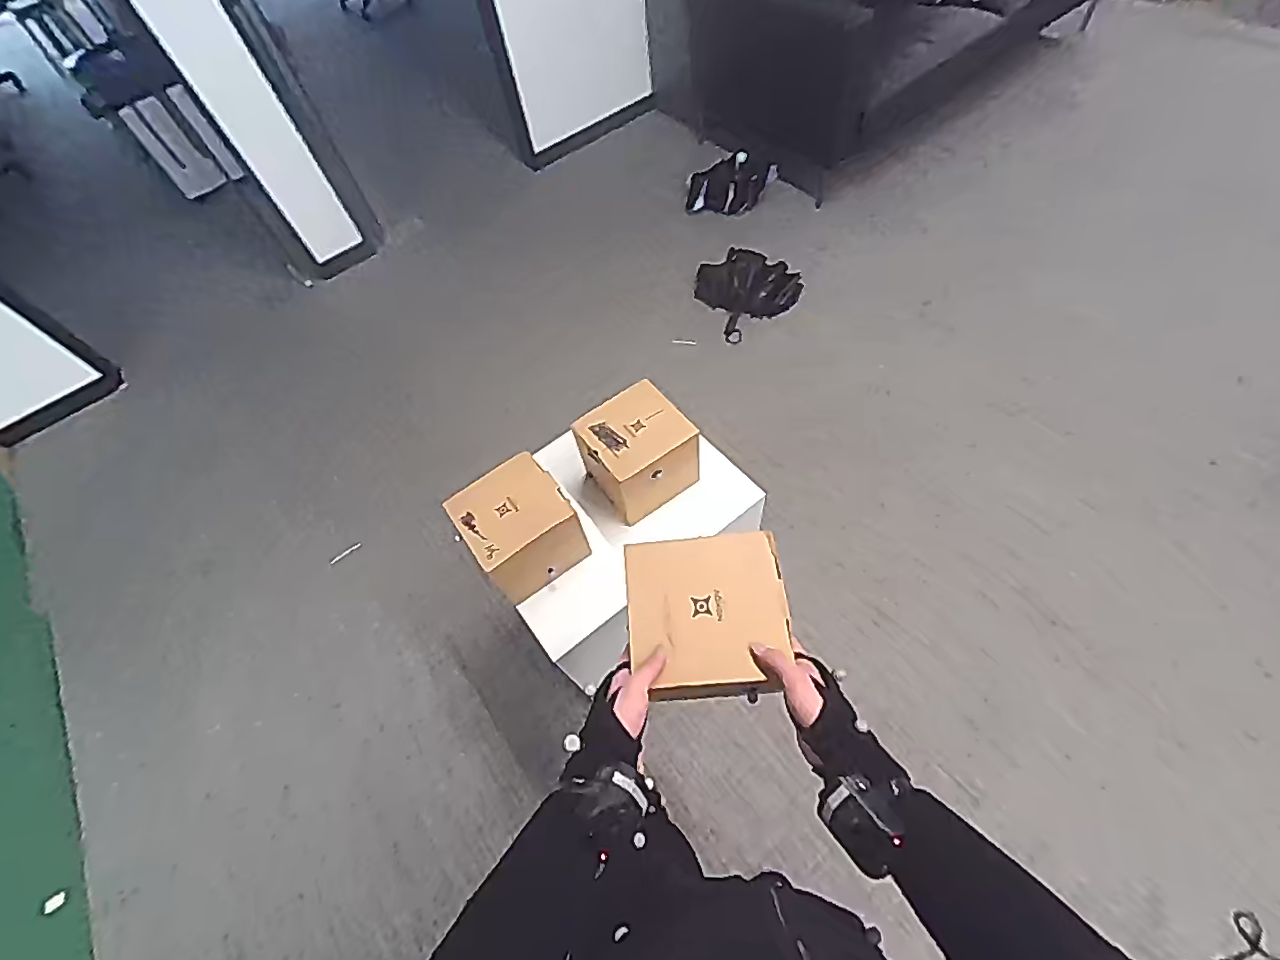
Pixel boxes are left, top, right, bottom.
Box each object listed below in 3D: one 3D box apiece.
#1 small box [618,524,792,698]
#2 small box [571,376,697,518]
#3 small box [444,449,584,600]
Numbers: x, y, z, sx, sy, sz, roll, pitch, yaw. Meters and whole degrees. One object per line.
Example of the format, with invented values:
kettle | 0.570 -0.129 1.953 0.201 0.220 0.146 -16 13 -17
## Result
small box | 0.075 0.168 0.665 0.179 0.176 0.168 -8 62 5
small box | -0.004 -0.057 1.032 0.179 0.176 0.168 -33 61 -14
small box | -0.215 0.083 0.974 0.179 0.176 0.168 -34 61 -16
